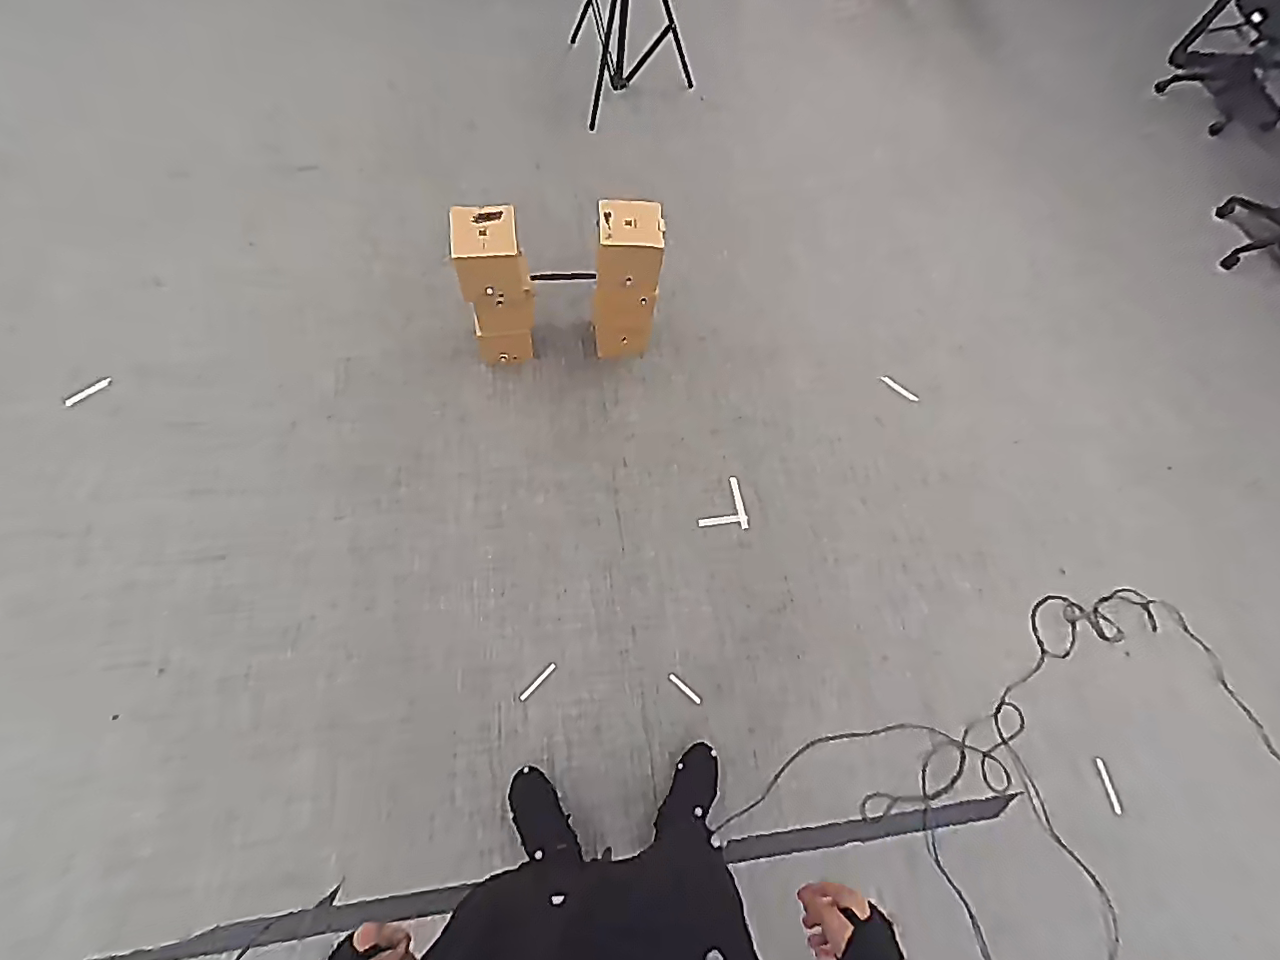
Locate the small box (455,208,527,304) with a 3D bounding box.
[{"bbox_3d":[-0.400,-0.603,1.462,0.168,0.176,0.179,-6,69,-8],"label":"small box"}]

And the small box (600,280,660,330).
[{"bbox_3d":[-0.037,-0.583,1.677,0.179,0.176,0.168,0,67,-7],"label":"small box"}]

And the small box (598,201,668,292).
[{"bbox_3d":[-0.025,-0.653,1.529,0.179,0.176,0.168,0,67,-8],"label":"small box"}]

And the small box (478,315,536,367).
[{"bbox_3d":[-0.435,-0.494,1.770,0.168,0.176,0.179,-8,68,-10],"label":"small box"}]

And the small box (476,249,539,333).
[{"bbox_3d":[-0.405,-0.562,1.623,0.179,0.176,0.168,-9,68,-10],"label":"small box"}]
